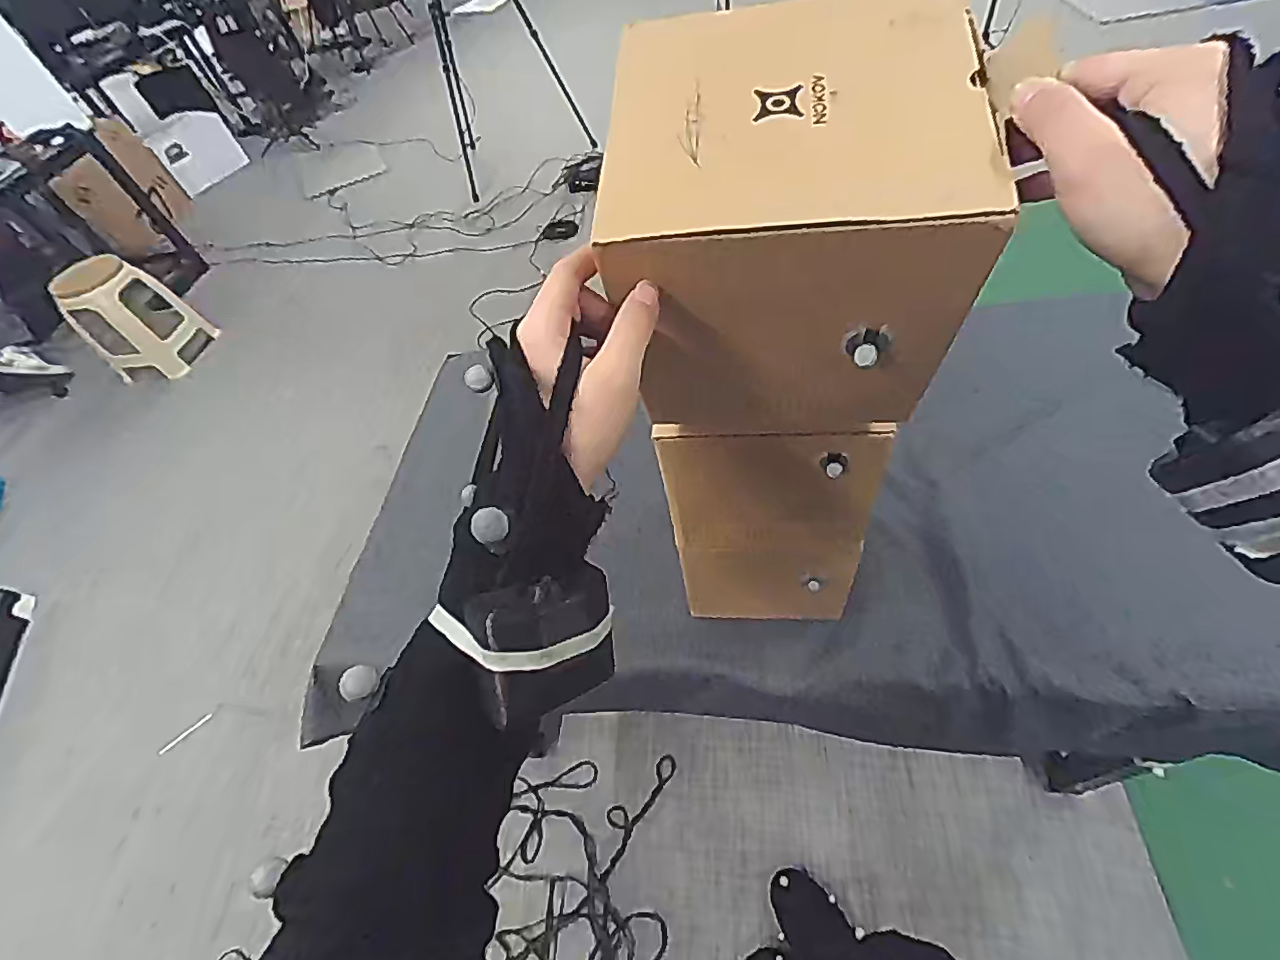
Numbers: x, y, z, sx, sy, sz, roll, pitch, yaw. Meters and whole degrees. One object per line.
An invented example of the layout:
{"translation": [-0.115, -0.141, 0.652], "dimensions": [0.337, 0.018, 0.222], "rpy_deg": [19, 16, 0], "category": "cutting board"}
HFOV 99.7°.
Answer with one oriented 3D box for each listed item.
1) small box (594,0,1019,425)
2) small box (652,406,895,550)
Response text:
{"translation": [0.085, -0.144, 0.330], "dimensions": [0.179, 0.176, 0.168], "rpy_deg": [0, 65, 12], "category": "small box"}
{"translation": [0.114, -0.046, 0.500], "dimensions": [0.179, 0.176, 0.168], "rpy_deg": [-1, 53, 10], "category": "small box"}
